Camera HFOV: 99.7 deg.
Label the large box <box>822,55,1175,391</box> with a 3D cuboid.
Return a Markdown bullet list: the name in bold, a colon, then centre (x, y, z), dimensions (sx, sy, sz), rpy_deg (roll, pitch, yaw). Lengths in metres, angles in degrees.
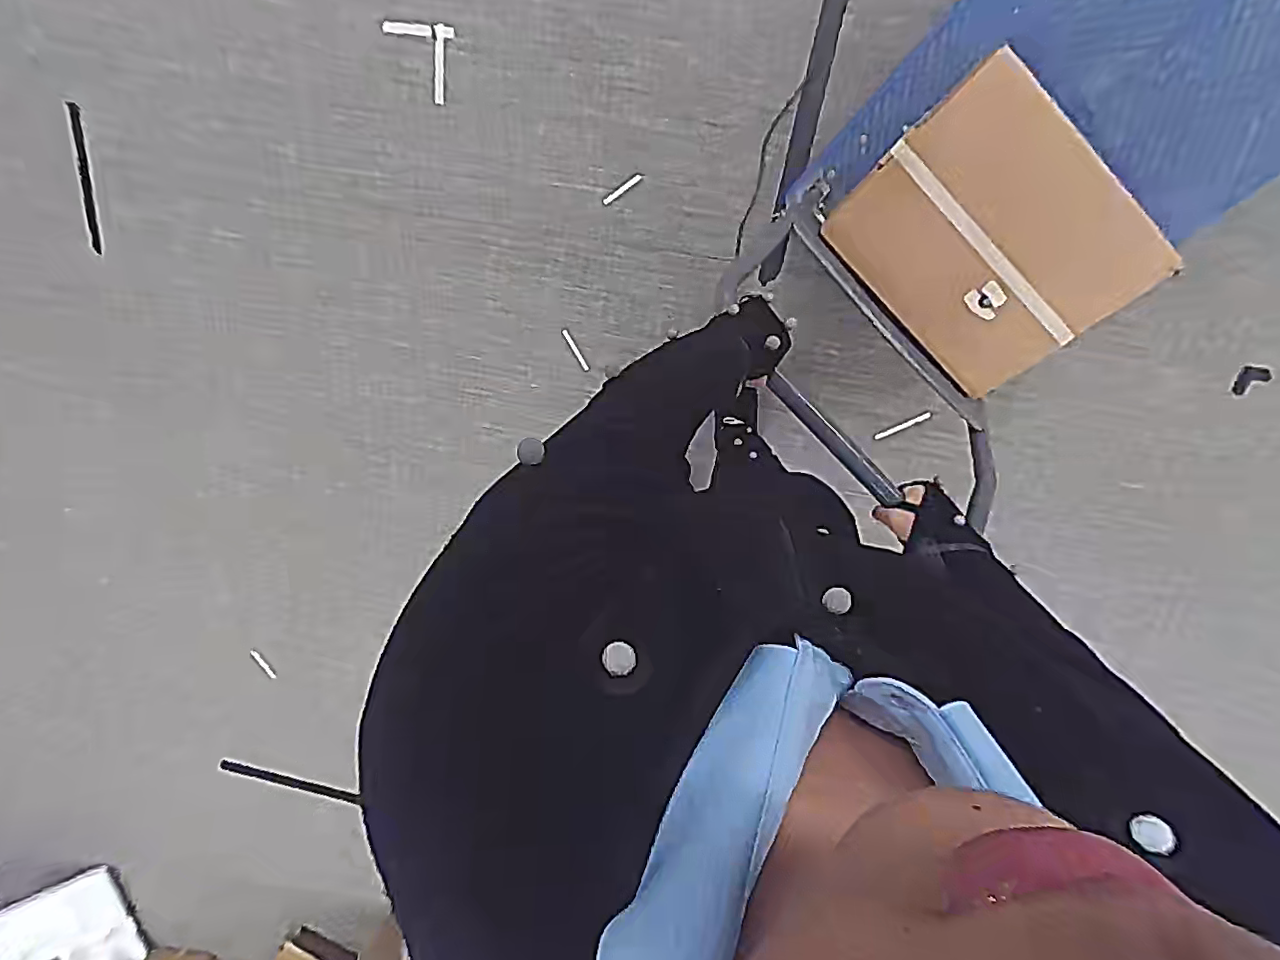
- **large box**: centre (0.588, -0.444, 0.961), dimensions (0.408, 0.320, 0.320), rpy_deg (43, 129, -7)
